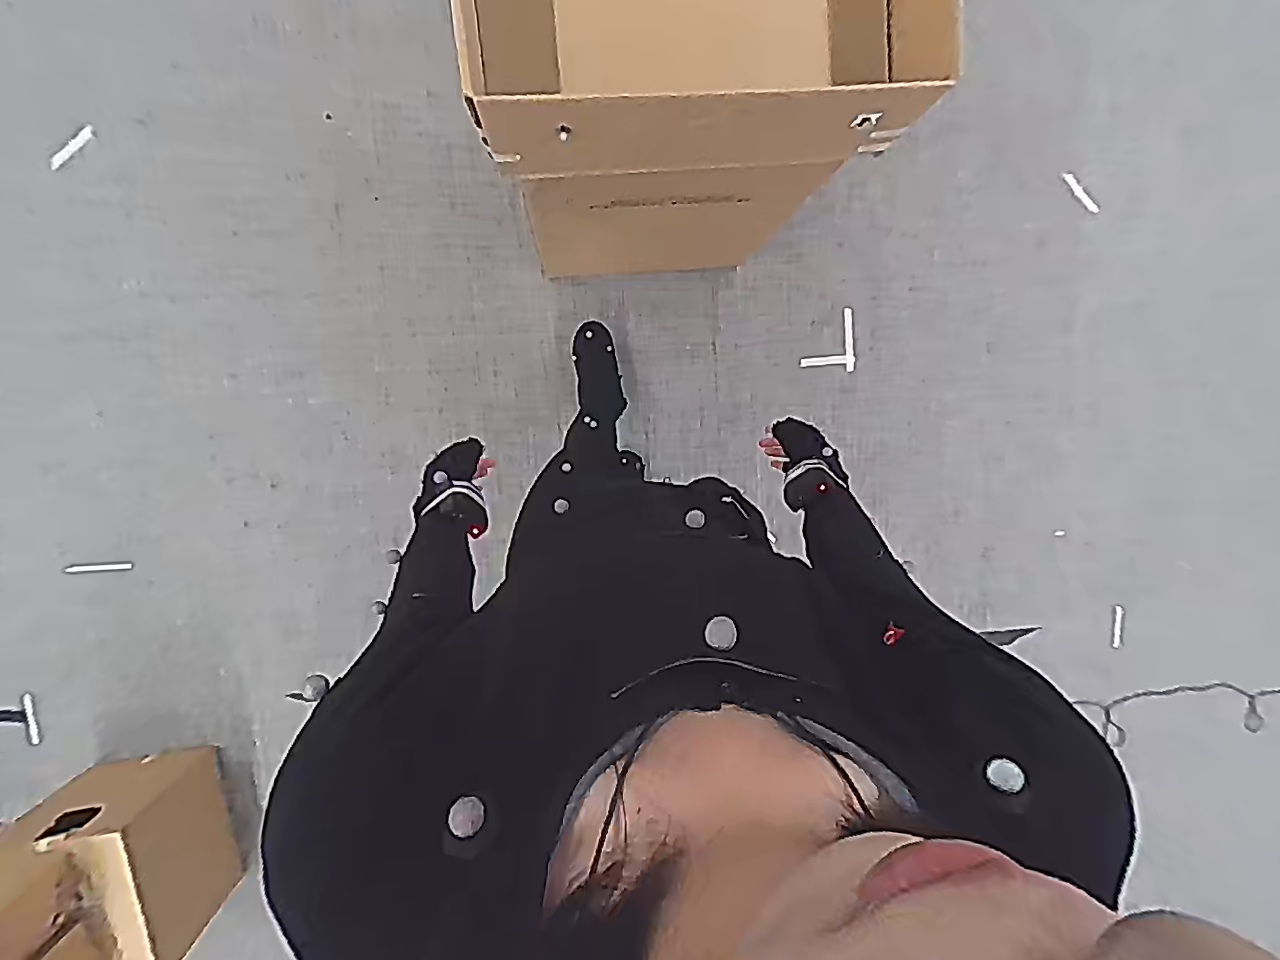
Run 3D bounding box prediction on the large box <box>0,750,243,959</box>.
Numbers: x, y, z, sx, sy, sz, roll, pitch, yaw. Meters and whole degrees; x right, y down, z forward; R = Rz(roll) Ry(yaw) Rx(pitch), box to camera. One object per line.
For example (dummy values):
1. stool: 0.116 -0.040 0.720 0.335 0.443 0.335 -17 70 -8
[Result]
1. large box: -1.258 0.954 1.318 0.320 0.320 0.408 -8 97 -6
